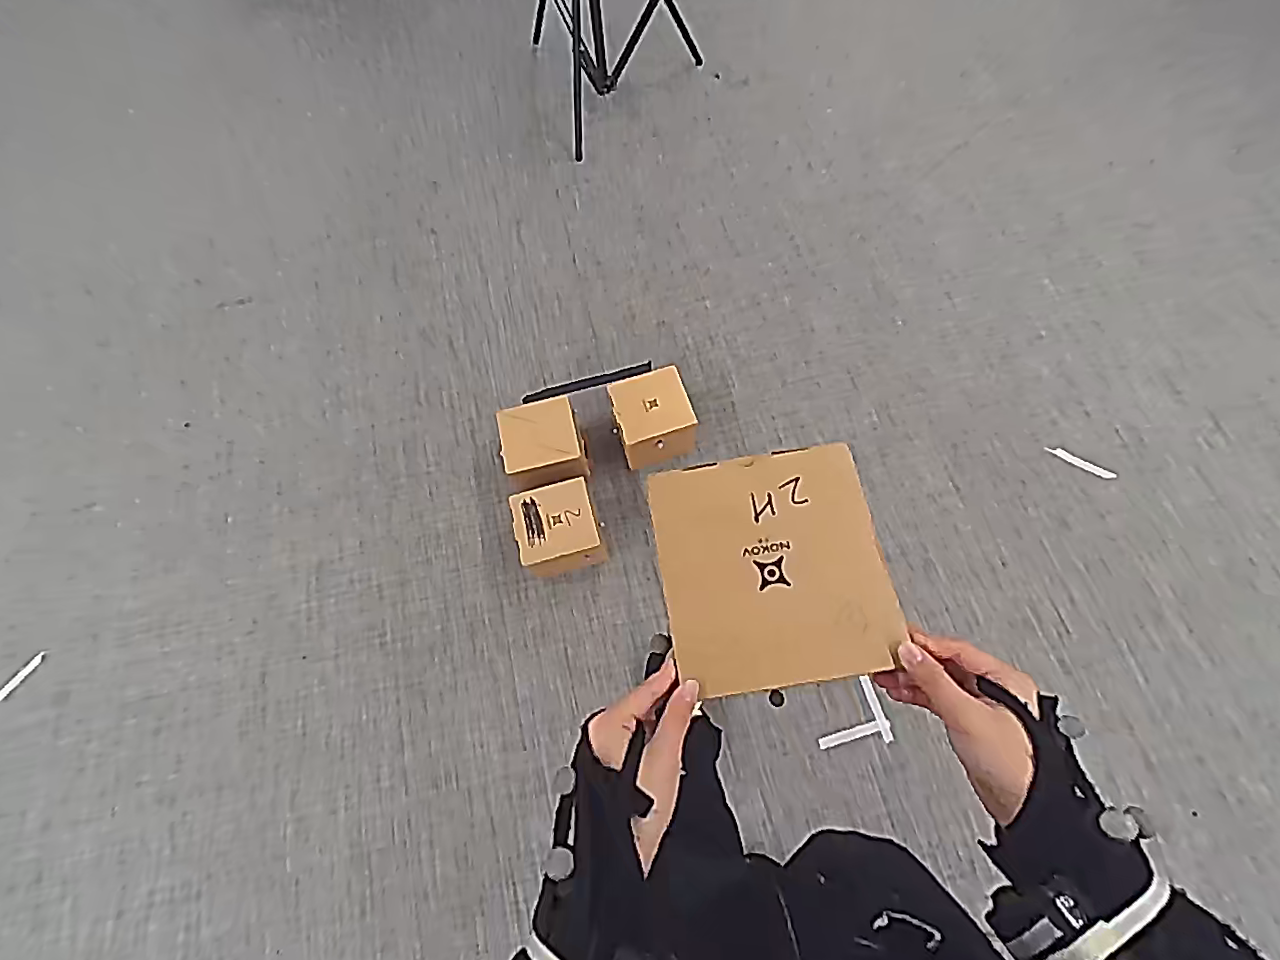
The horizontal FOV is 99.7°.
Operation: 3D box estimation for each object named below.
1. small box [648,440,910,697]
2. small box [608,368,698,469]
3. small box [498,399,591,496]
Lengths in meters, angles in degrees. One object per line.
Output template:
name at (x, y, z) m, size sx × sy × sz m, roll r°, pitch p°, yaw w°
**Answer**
small box at (0.104, 0.087, 0.480) m, size 0.168 × 0.176 × 0.179 m, roll -9°, pitch 68°, yaw 1°
small box at (0.031, -0.147, 1.340) m, size 0.179 × 0.176 × 0.168 m, roll -18°, pitch 71°, yaw -3°
small box at (-0.230, -0.080, 1.324) m, size 0.179 × 0.176 × 0.168 m, roll -13°, pitch 70°, yaw -2°
